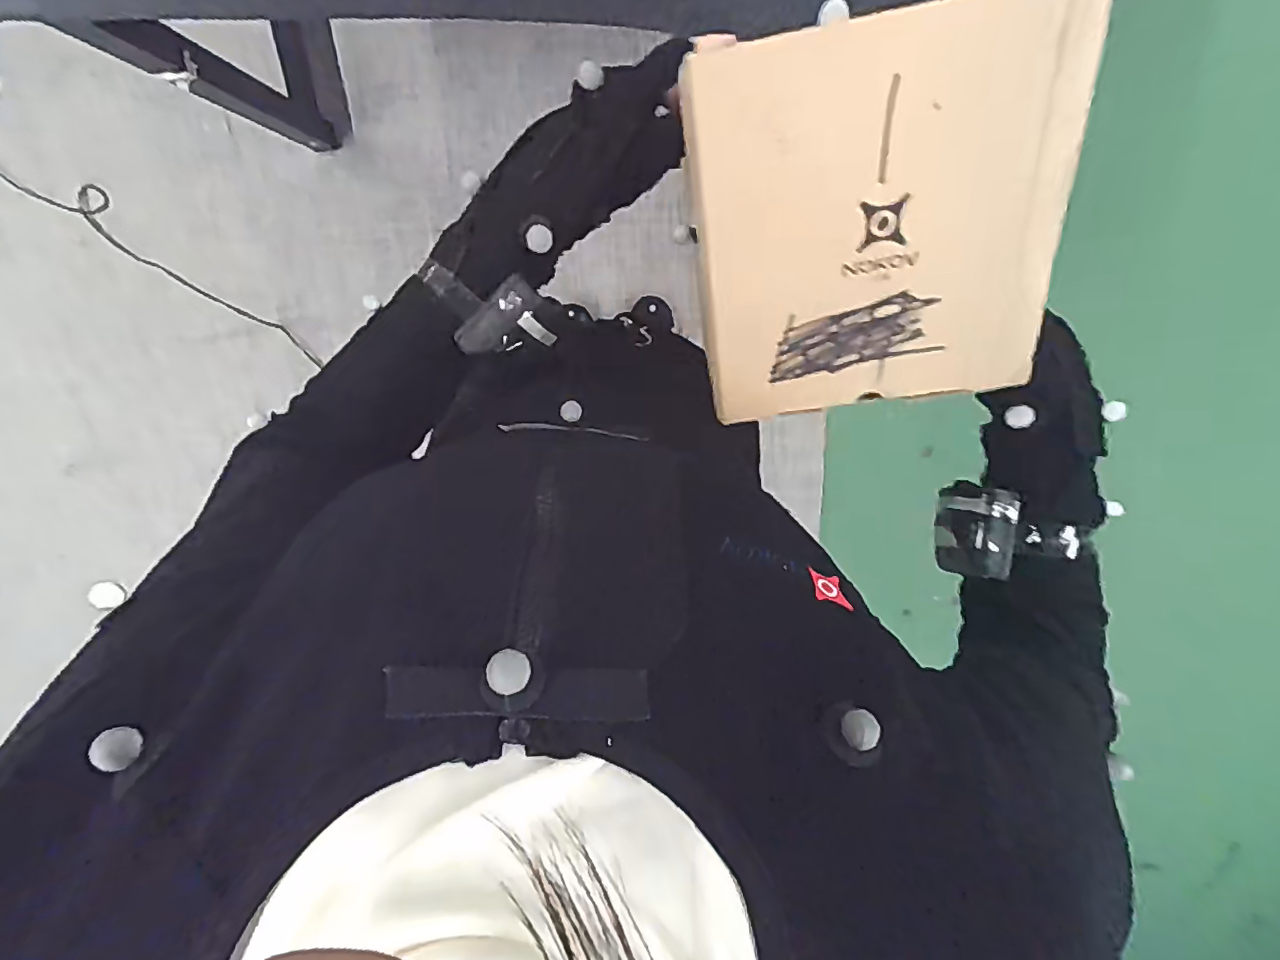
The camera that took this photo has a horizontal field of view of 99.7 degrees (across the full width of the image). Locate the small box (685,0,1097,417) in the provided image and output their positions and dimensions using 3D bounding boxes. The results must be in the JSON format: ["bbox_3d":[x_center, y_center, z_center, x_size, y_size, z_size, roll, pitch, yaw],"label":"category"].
[{"bbox_3d":[0.118,-0.160,0.336,0.168,0.176,0.179,-6,122,6],"label":"small box"}]
